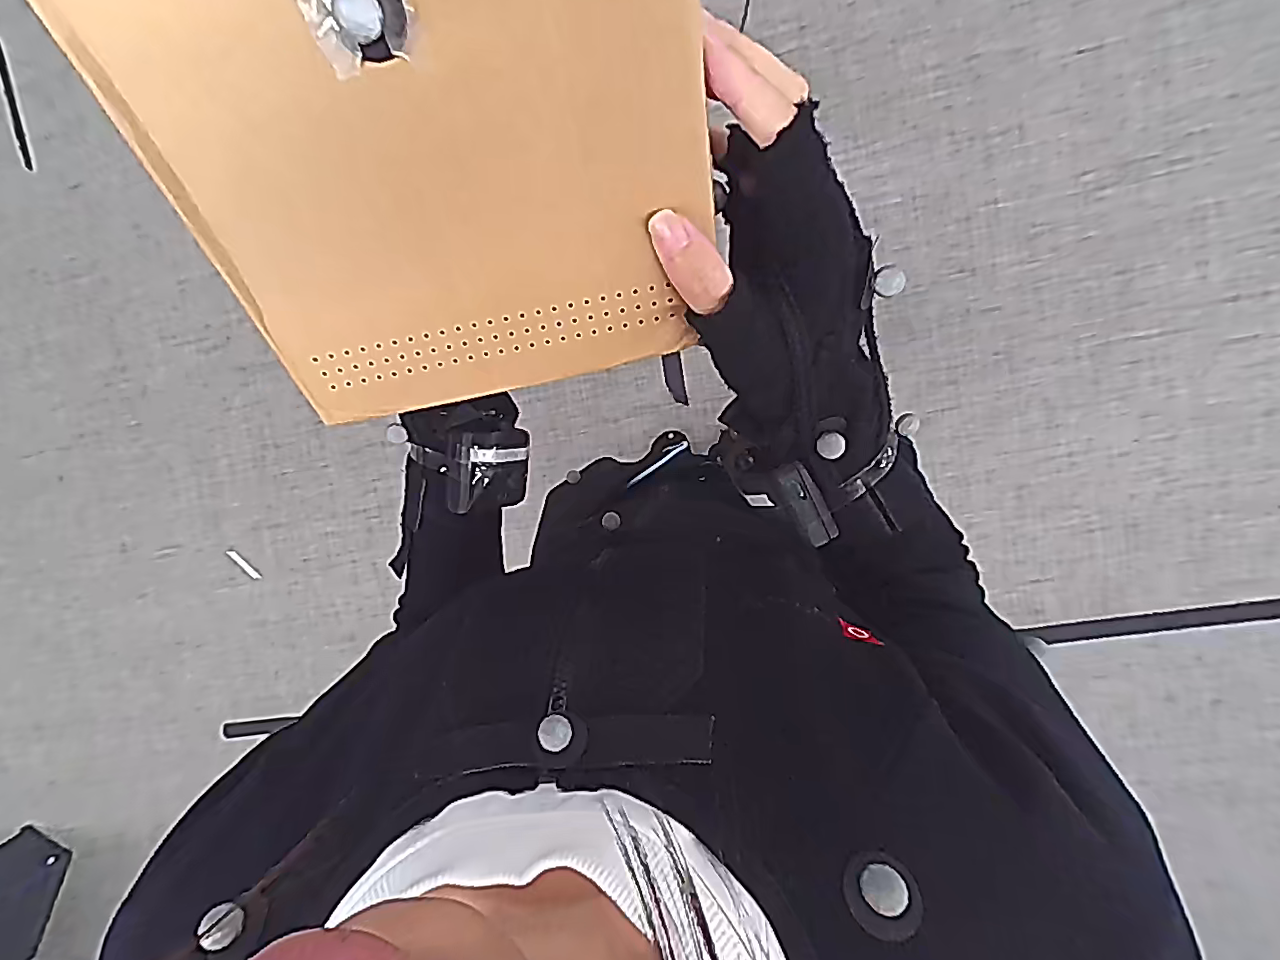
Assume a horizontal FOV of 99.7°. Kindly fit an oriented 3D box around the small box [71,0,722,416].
[{"bbox_3d":[-0.068,-0.147,0.240,0.179,0.168,0.176,-11,133,2],"label":"small box"}]
